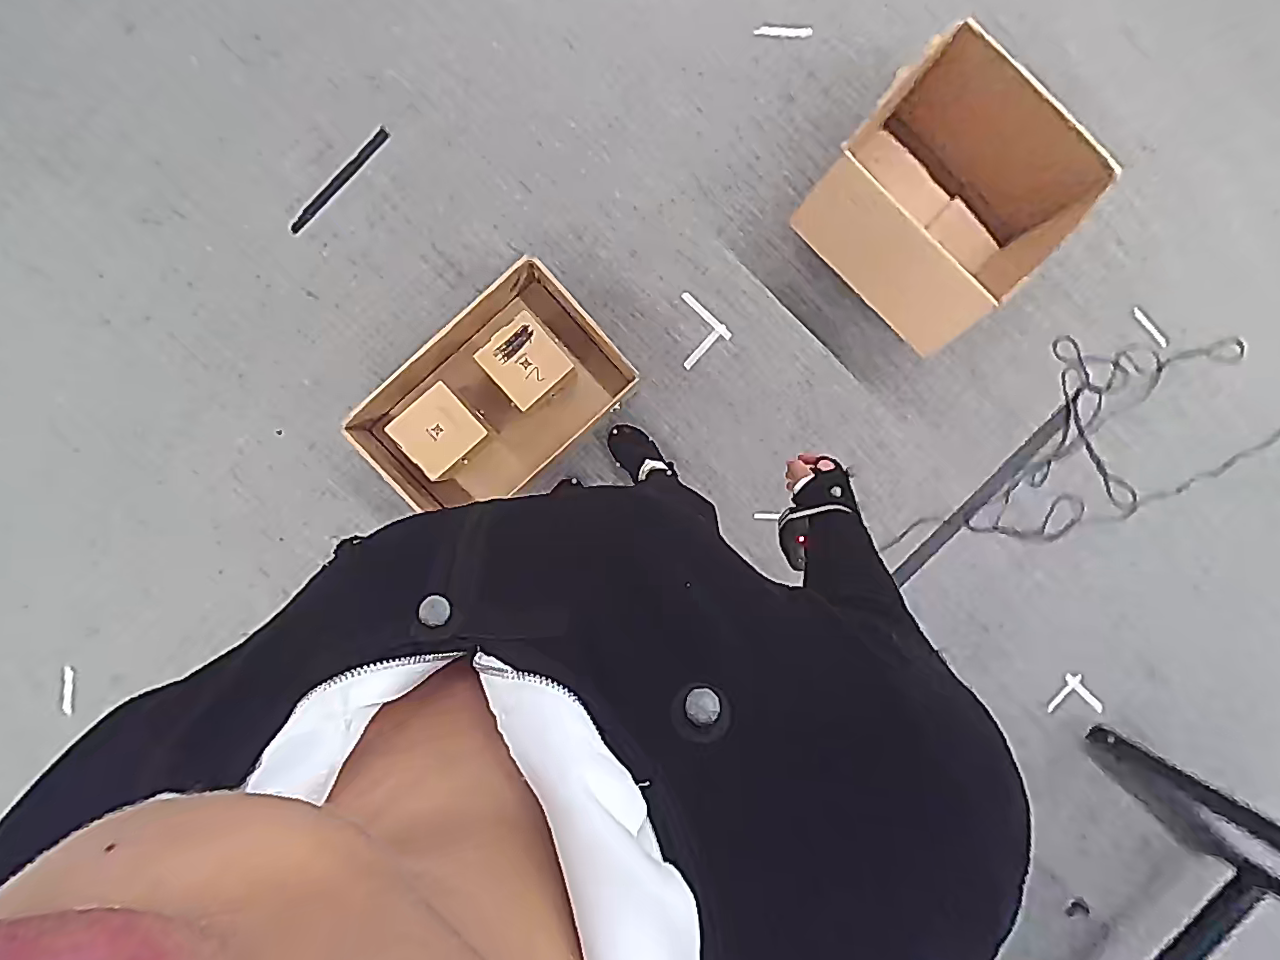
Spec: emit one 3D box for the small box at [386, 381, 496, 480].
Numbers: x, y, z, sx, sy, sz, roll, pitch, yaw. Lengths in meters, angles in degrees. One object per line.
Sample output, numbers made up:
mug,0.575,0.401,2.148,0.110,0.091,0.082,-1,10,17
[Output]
small box,-0.481,-0.119,1.340,0.179,0.176,0.168,-42,96,-3
